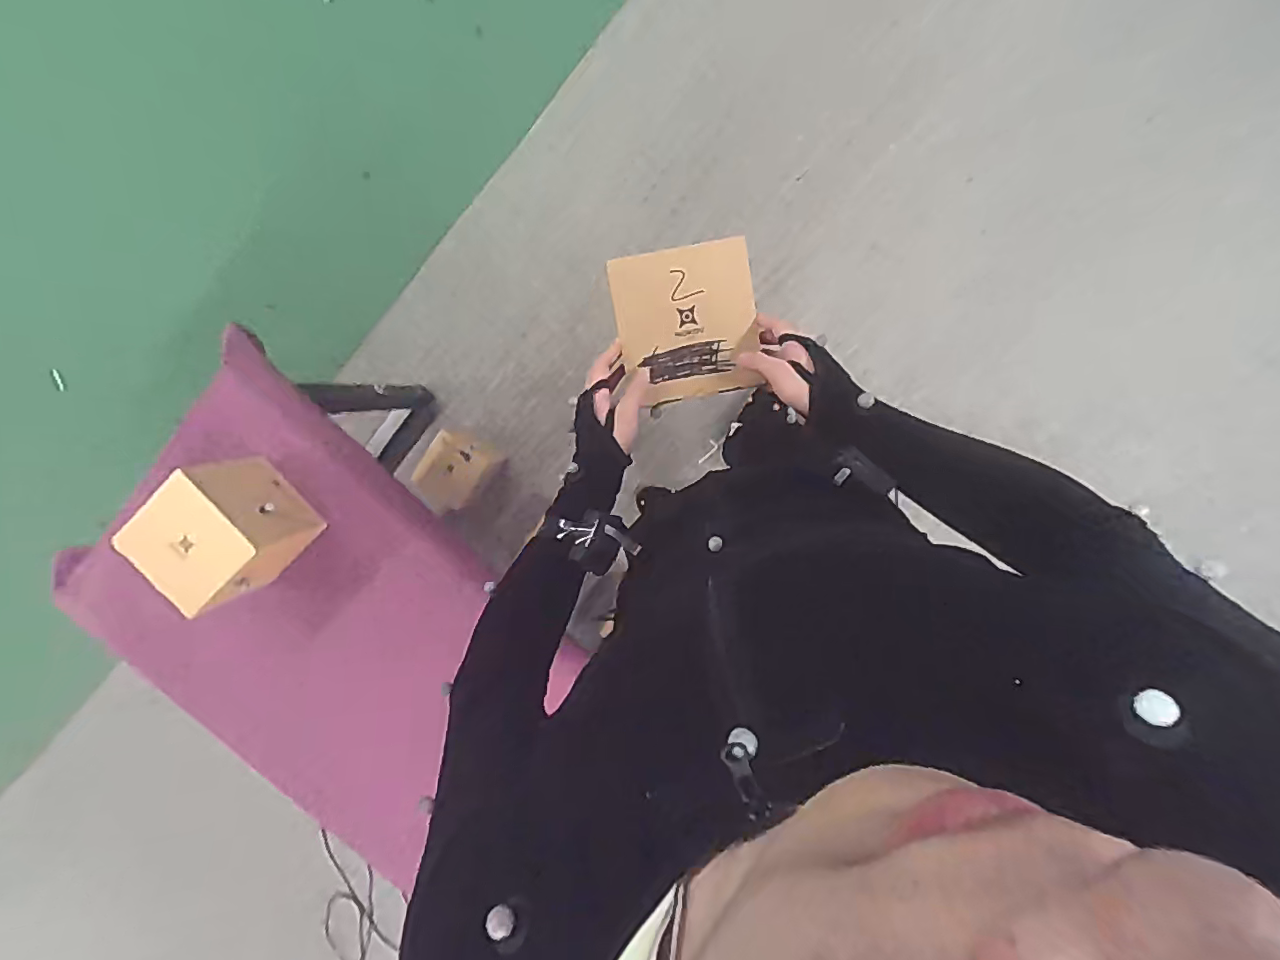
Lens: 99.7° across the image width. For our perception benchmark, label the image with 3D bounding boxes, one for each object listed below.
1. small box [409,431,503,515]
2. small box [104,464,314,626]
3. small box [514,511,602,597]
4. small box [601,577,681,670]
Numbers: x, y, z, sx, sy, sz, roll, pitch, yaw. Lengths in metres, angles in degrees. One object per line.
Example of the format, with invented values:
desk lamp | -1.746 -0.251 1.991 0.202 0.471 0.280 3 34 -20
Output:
small box | -0.526 -0.026 1.575 0.168 0.176 0.179 36 100 -1
small box | -0.671 0.093 0.870 0.179 0.176 0.168 -41 94 11
small box | -0.235 0.208 1.587 0.179 0.176 0.168 35 101 -2
small box | 0.006 0.415 1.598 0.168 0.176 0.179 34 100 -1
